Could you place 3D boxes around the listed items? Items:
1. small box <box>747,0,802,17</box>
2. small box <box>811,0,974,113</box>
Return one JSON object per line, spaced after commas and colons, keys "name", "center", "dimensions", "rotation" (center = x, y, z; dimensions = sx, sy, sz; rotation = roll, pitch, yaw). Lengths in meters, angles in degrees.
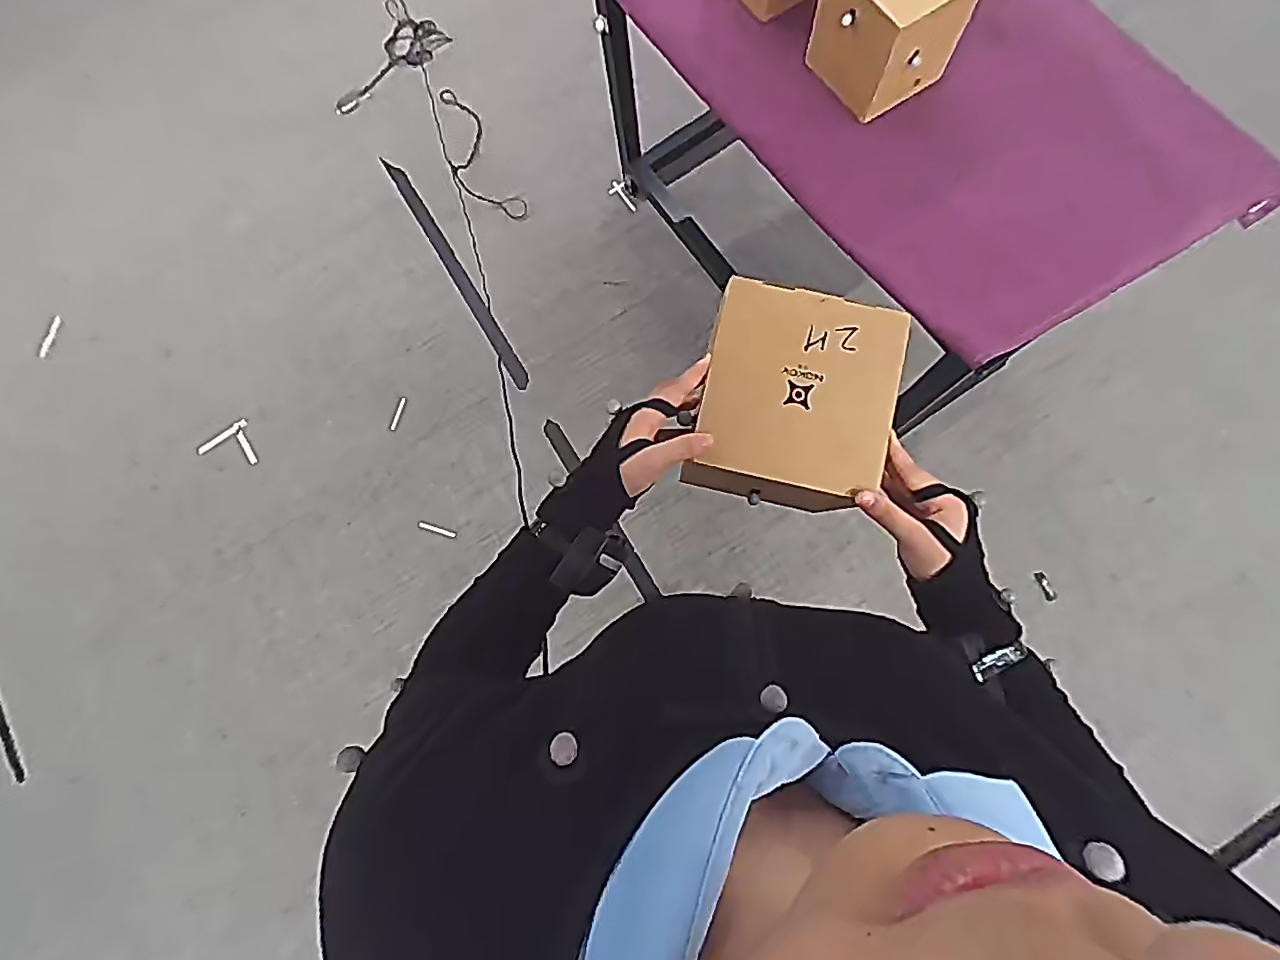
{"name": "small box", "center": [0.247, -0.973, 0.939], "dimensions": [0.168, 0.176, 0.179], "rotation": [-33, 78, -2]}
{"name": "small box", "center": [0.407, -0.745, 0.879], "dimensions": [0.168, 0.176, 0.179], "rotation": [-32, 77, -2]}
